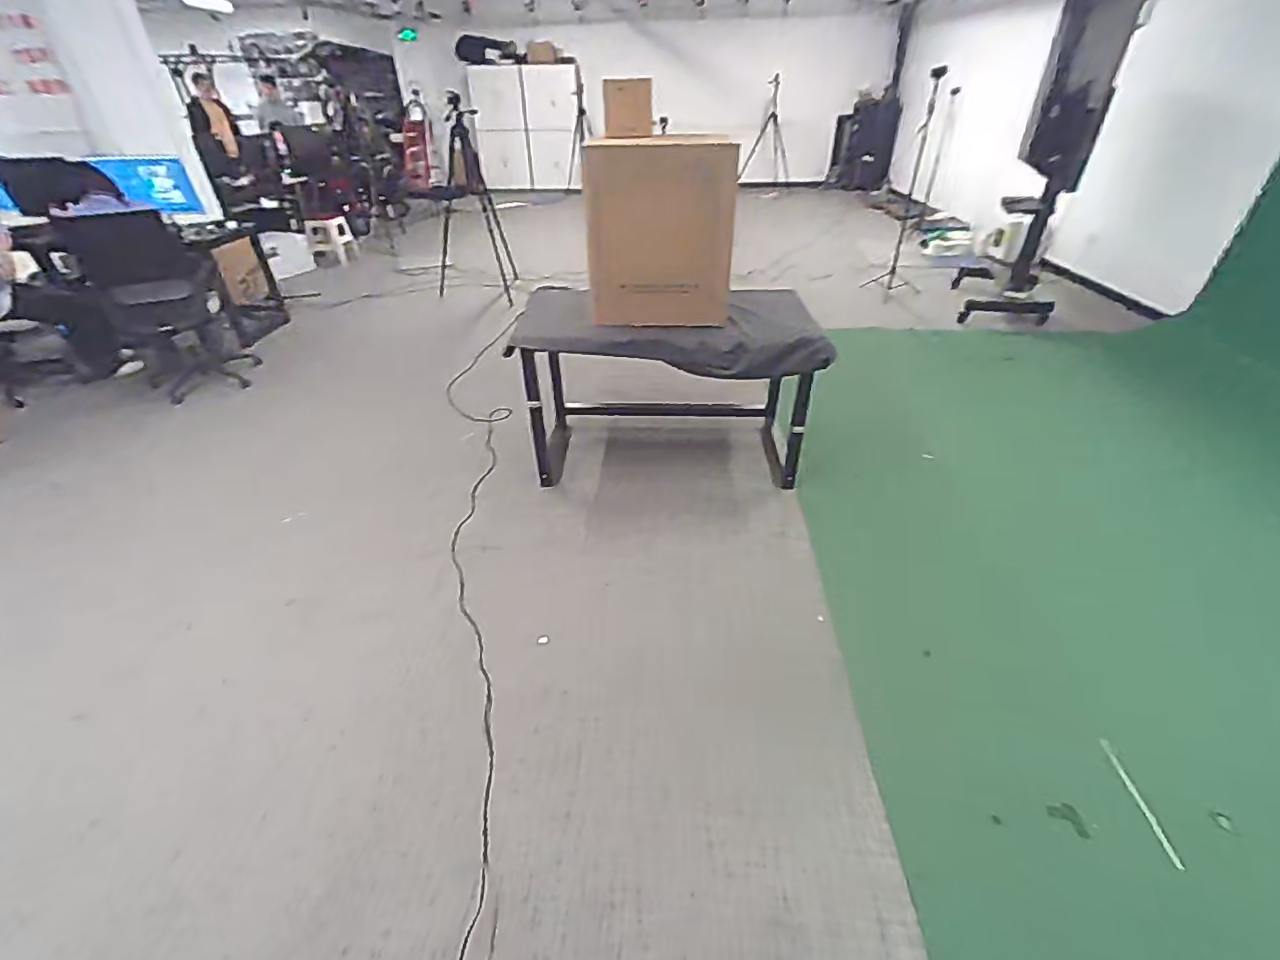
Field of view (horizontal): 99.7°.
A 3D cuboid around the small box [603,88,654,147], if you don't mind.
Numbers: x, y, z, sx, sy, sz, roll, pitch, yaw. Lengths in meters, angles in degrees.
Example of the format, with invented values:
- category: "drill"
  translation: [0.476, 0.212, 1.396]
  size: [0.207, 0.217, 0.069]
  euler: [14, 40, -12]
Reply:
- category: "small box"
  translation: [-0.036, -1.292, 1.931]
  size: [0.168, 0.176, 0.179]
  euler: [0, 34, 4]
